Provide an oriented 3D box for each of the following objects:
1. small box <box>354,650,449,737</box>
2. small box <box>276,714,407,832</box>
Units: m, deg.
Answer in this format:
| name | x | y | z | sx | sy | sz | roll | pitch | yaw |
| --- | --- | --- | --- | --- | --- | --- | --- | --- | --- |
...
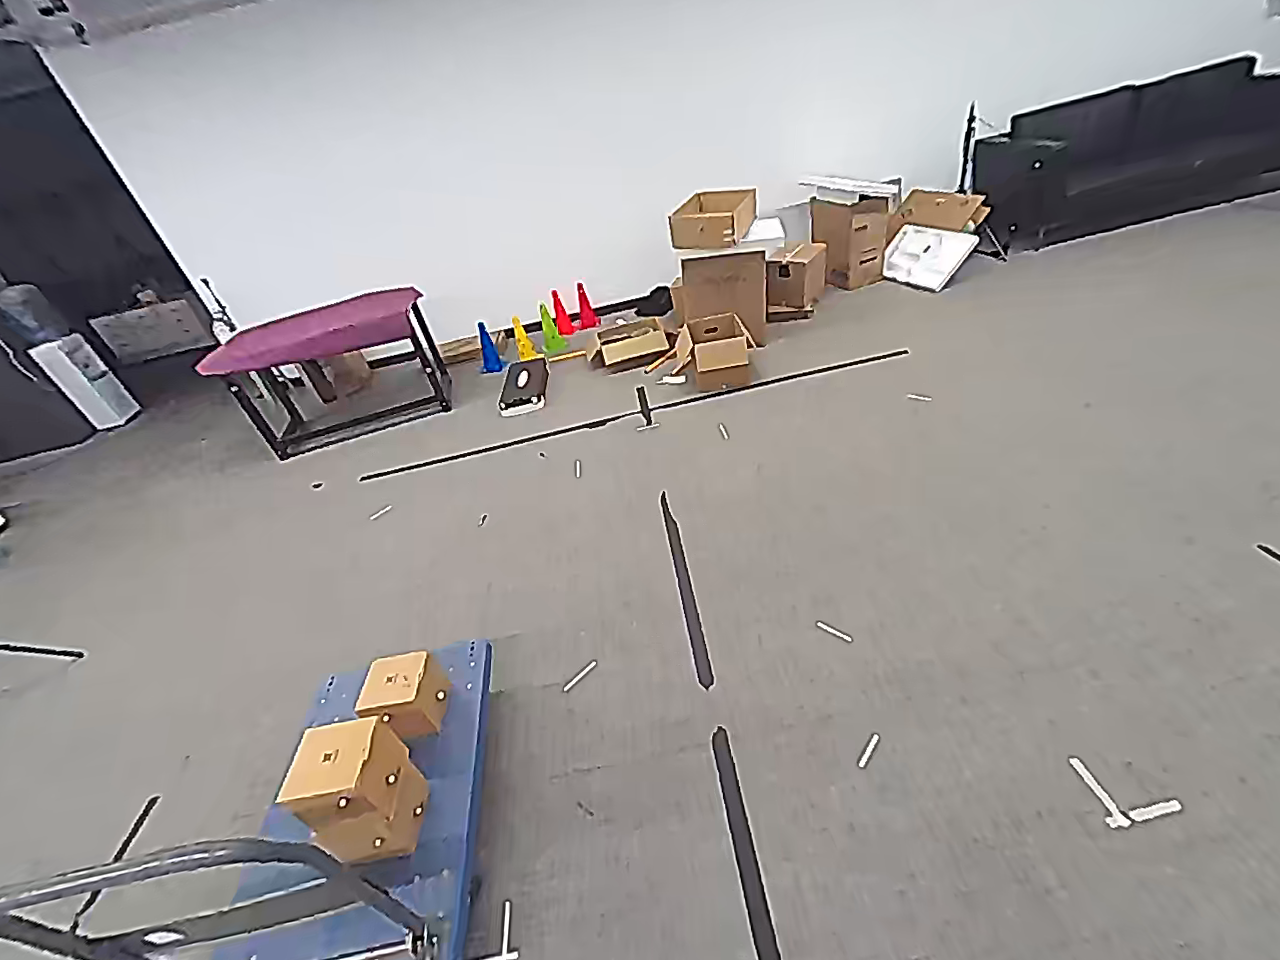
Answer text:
| name | x | y | z | sx | sy | sz | roll | pitch | yaw |
| --- | --- | --- | --- | --- | --- | --- | --- | --- | --- |
| small box | -0.684 | 0.624 | 1.570 | 0.179 | 0.176 | 0.168 | -11 | 36 | 3 |
| small box | -0.663 | 0.667 | 1.225 | 0.179 | 0.176 | 0.168 | -11 | 35 | 0 |
